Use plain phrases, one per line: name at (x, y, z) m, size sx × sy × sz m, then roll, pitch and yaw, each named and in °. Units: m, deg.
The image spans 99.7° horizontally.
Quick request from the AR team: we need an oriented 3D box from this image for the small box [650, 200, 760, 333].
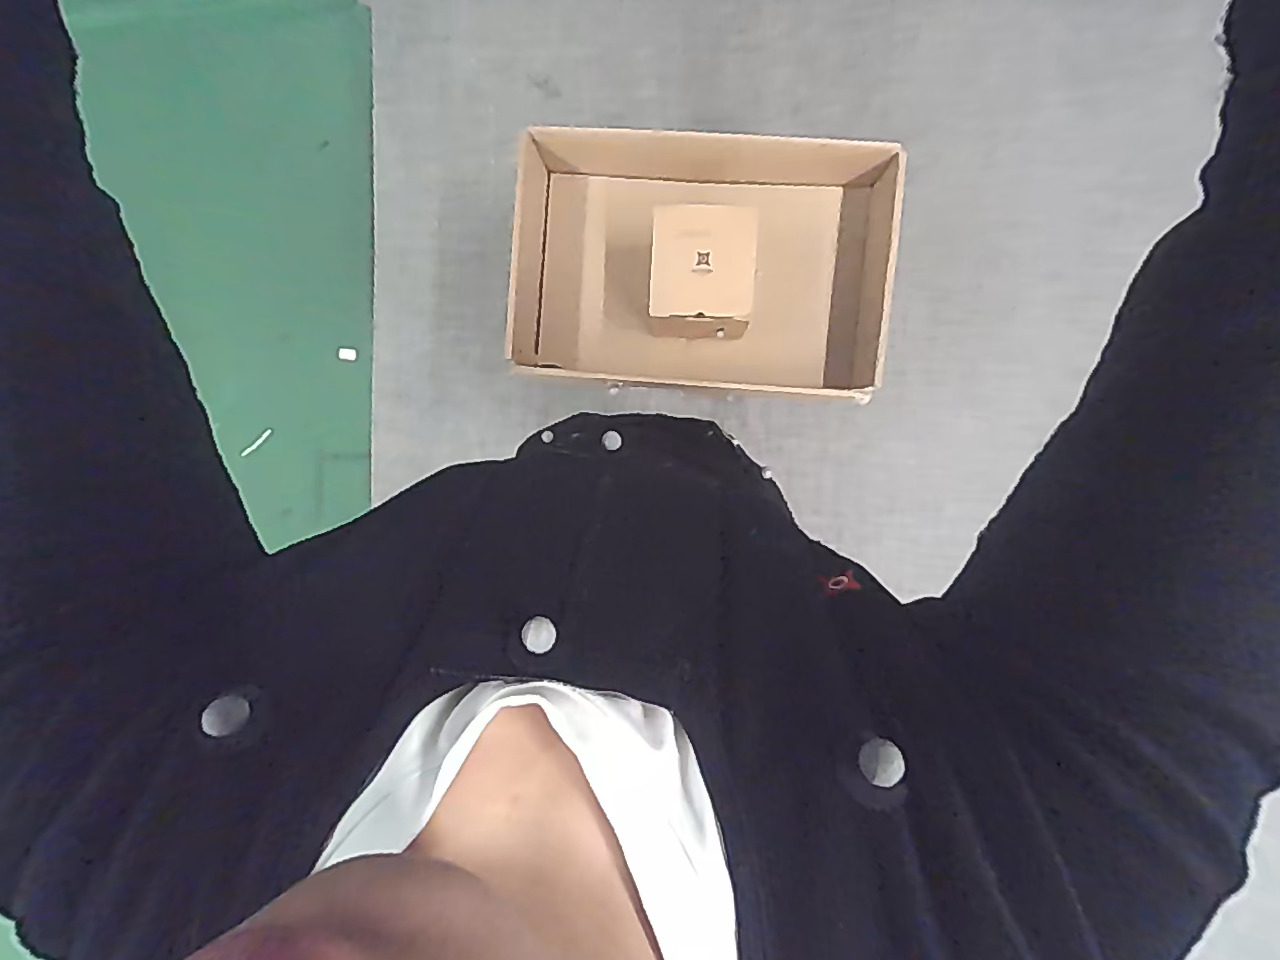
small box at (0.107, -0.356, 0.931) m, size 0.168 × 0.176 × 0.179 m, roll 3°, pitch 93°, yaw 3°
